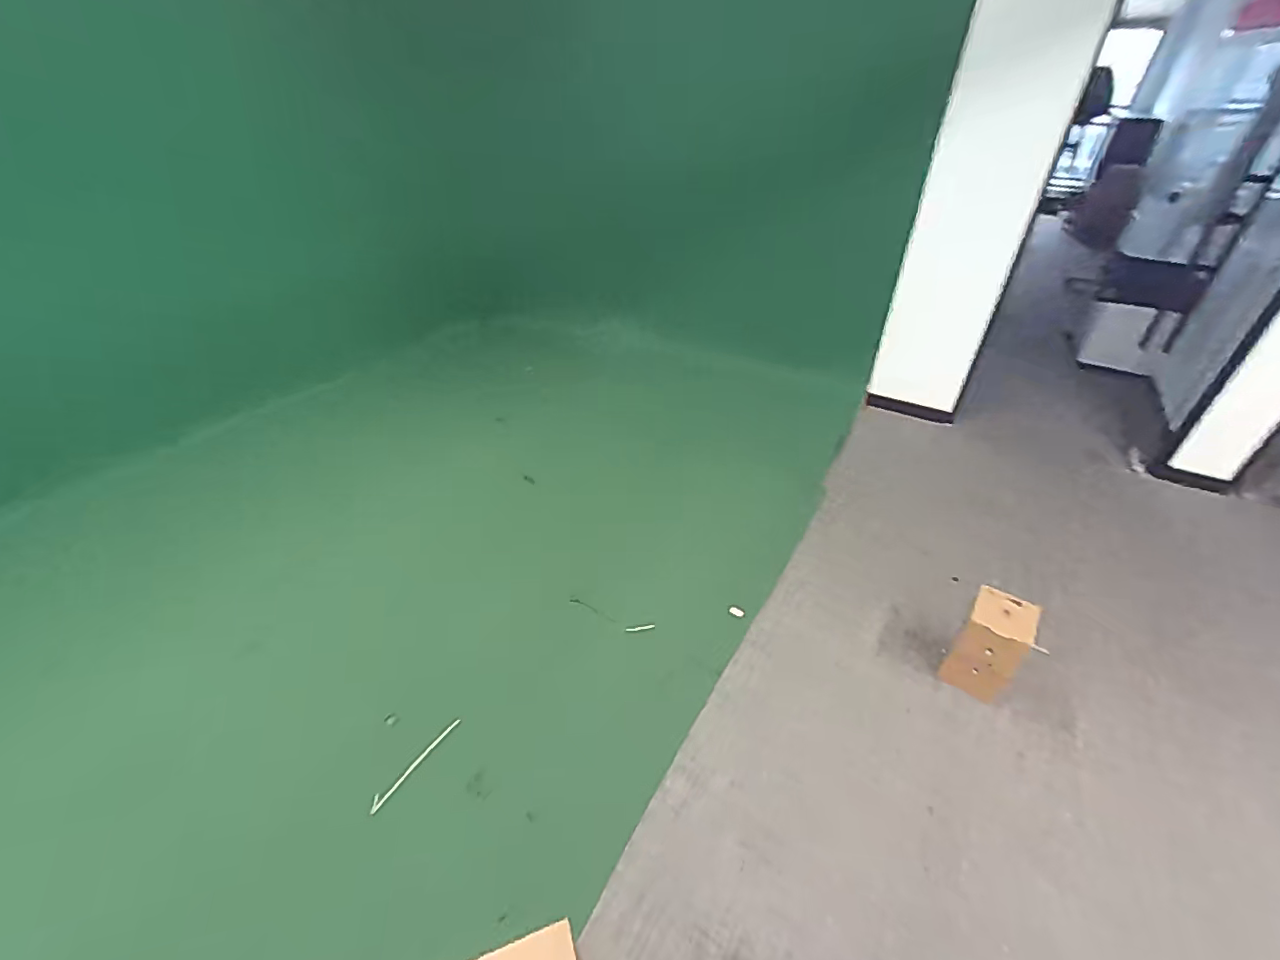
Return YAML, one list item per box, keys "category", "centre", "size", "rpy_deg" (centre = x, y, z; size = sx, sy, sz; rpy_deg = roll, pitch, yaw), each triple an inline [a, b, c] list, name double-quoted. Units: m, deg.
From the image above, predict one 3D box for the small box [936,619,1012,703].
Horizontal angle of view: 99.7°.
- category: "small box"
  centre: [1.114, 0.603, 1.795]
  size: [0.179, 0.176, 0.168]
  rpy_deg: [25, 45, 28]

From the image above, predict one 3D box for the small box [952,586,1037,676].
- category: "small box"
  centre: [1.105, 0.474, 1.694]
  size: [0.168, 0.176, 0.179]
  rpy_deg: [24, 46, 28]

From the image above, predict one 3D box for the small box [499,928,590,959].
- category: "small box"
  centre: [-0.108, 0.619, 0.550]
  size: [0.168, 0.176, 0.179]
  rpy_deg: [-12, 32, -14]
